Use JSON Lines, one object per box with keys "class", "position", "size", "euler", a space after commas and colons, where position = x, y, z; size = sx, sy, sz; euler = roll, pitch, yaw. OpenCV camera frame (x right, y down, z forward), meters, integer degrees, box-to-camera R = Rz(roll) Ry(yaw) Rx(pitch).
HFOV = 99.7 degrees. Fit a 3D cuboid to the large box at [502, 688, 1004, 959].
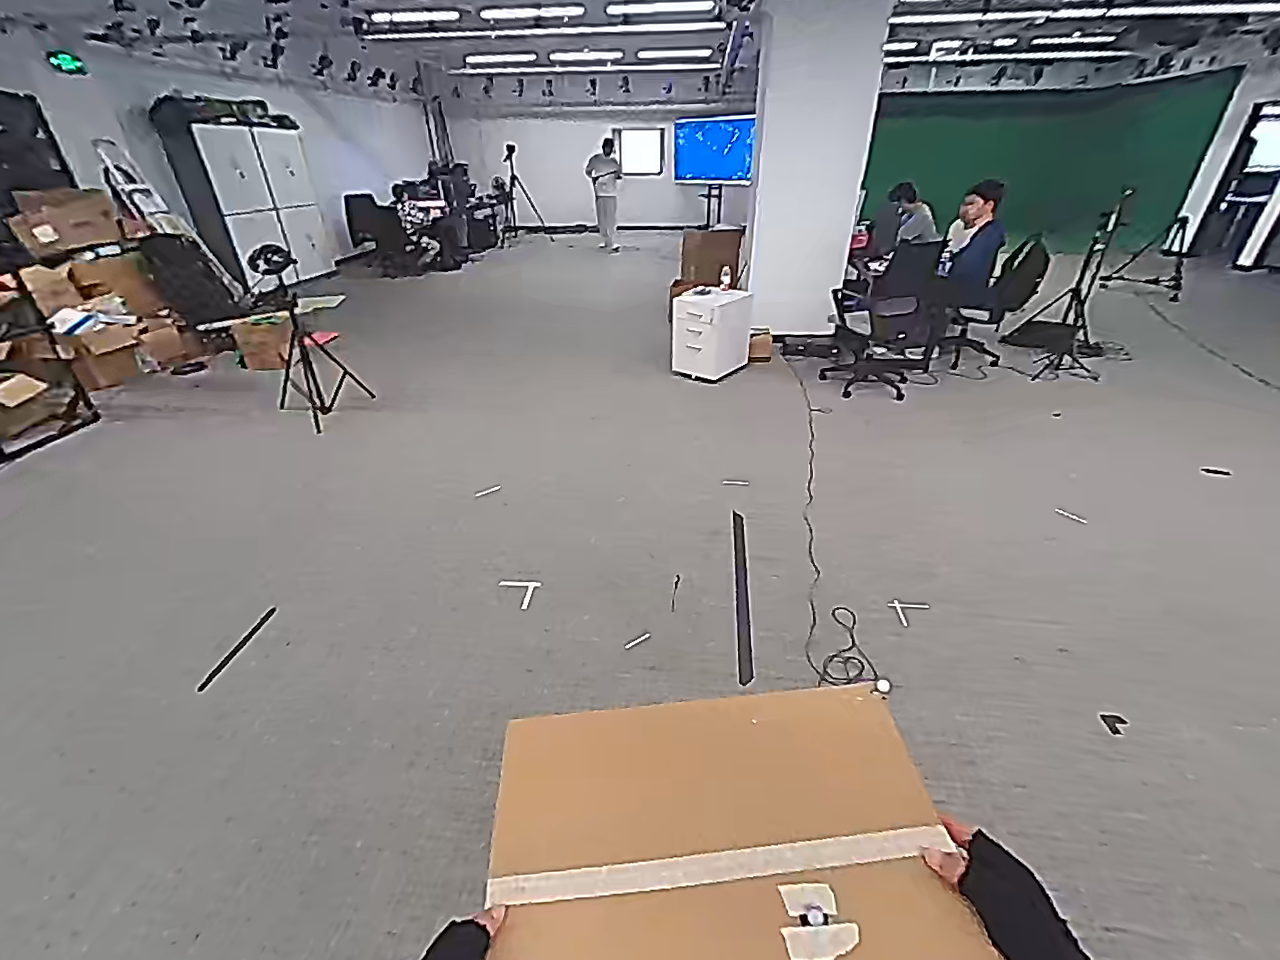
{"class": "large box", "position": [0.088, 0.461, 0.570], "size": [0.408, 0.320, 0.320], "euler": [-5, 38, -1]}
